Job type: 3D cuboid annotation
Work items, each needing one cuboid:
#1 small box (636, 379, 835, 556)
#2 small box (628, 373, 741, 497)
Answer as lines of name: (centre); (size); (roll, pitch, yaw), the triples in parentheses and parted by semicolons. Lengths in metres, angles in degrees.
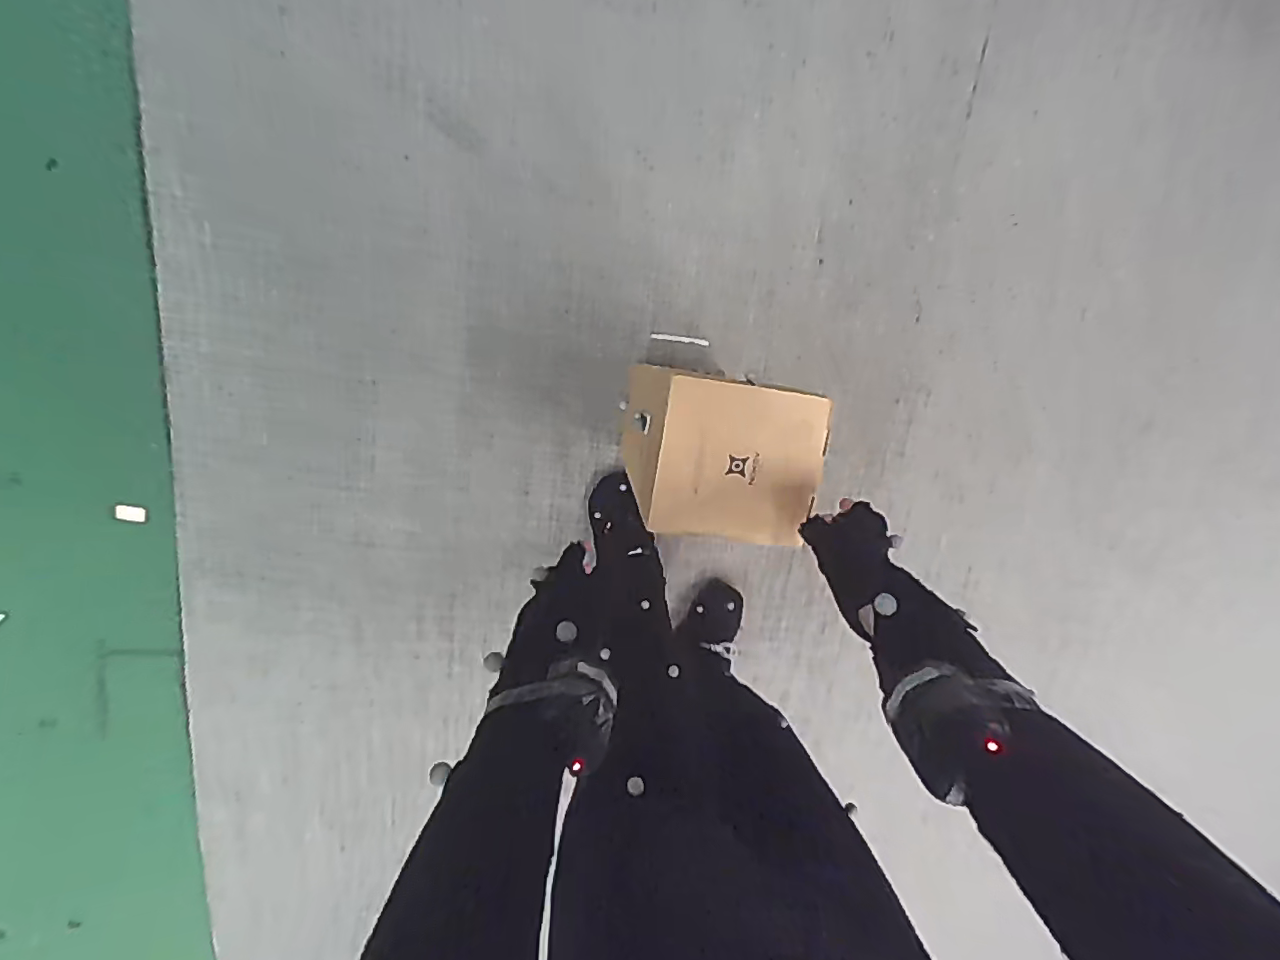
small box: (0.097, -0.024, 0.639); (0.179, 0.176, 0.168); (7, 103, -6)
small box: (0.085, -0.061, 0.797); (0.179, 0.176, 0.168); (9, 104, -8)
